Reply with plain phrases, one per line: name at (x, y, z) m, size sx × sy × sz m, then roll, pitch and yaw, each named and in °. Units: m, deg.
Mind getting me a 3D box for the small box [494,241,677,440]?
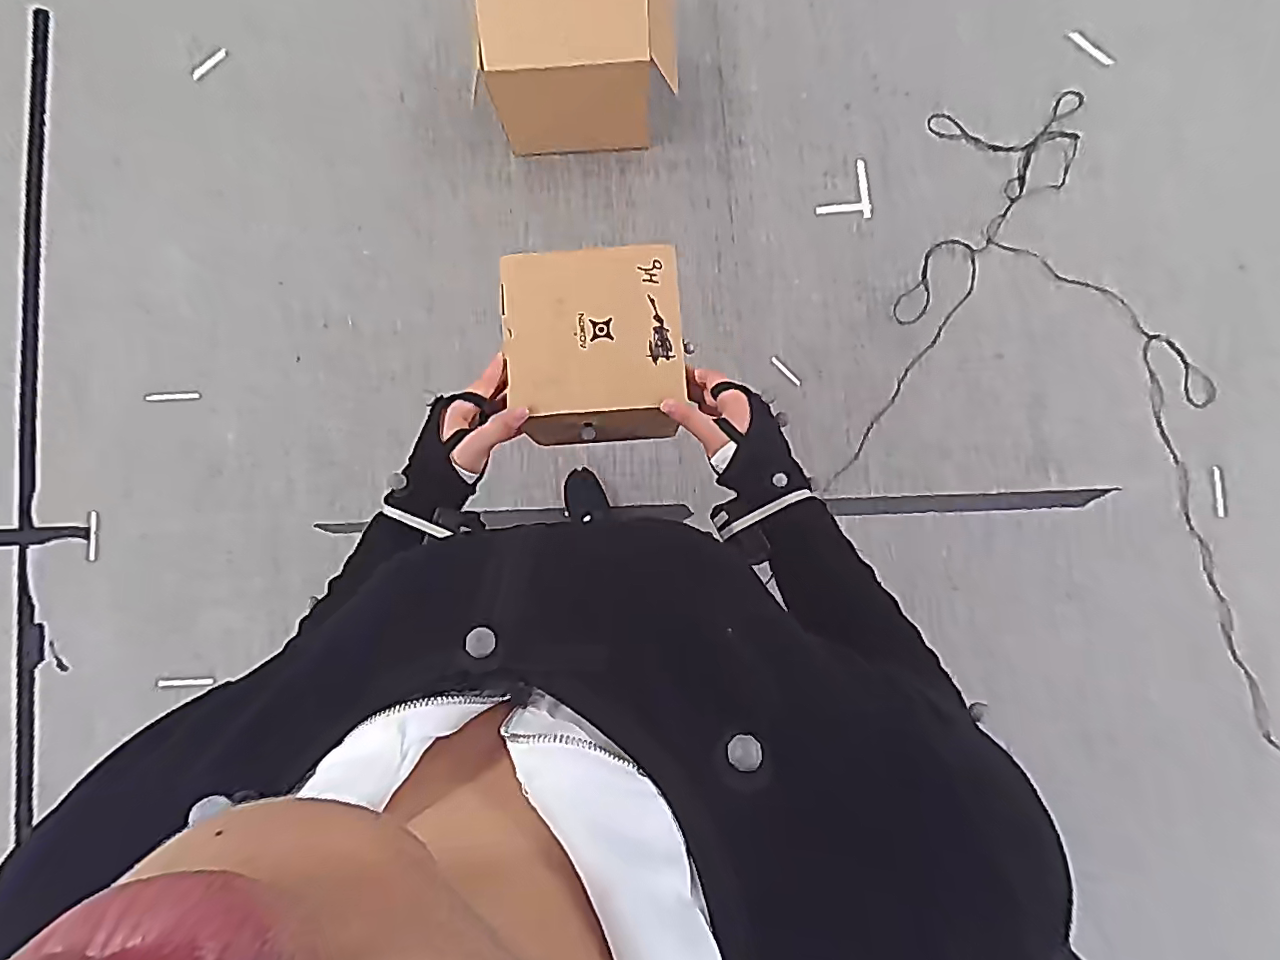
small box at (-0.053, -0.143, 0.608) m, size 0.179 × 0.176 × 0.168 m, roll -4°, pitch 84°, yaw -1°
